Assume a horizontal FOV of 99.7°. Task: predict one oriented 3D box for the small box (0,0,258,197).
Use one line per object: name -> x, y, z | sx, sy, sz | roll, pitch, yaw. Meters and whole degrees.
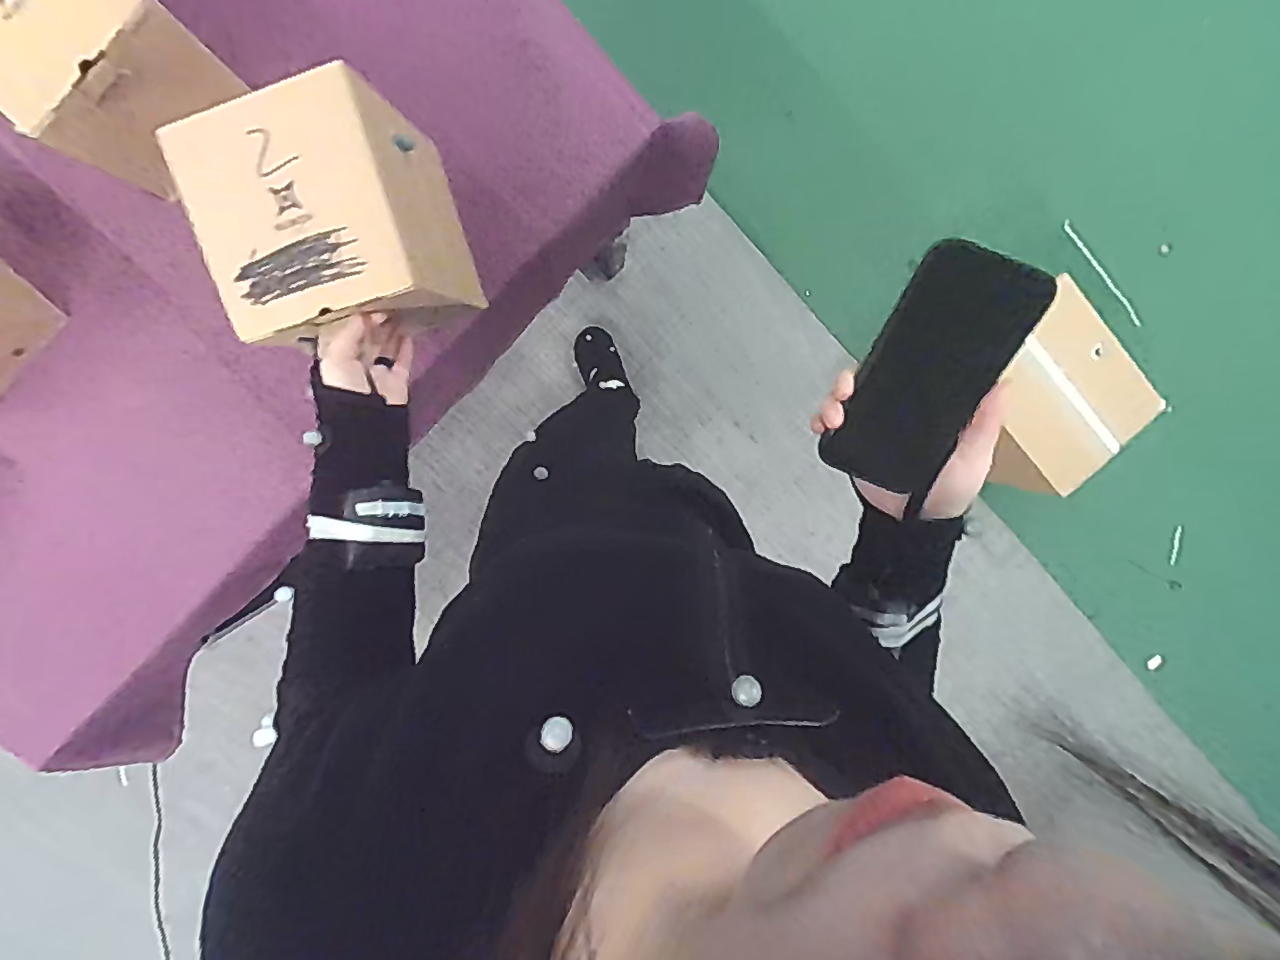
small box -> -0.563, -0.438, 0.562 | 0.179, 0.176, 0.168 | 43, 93, -9
